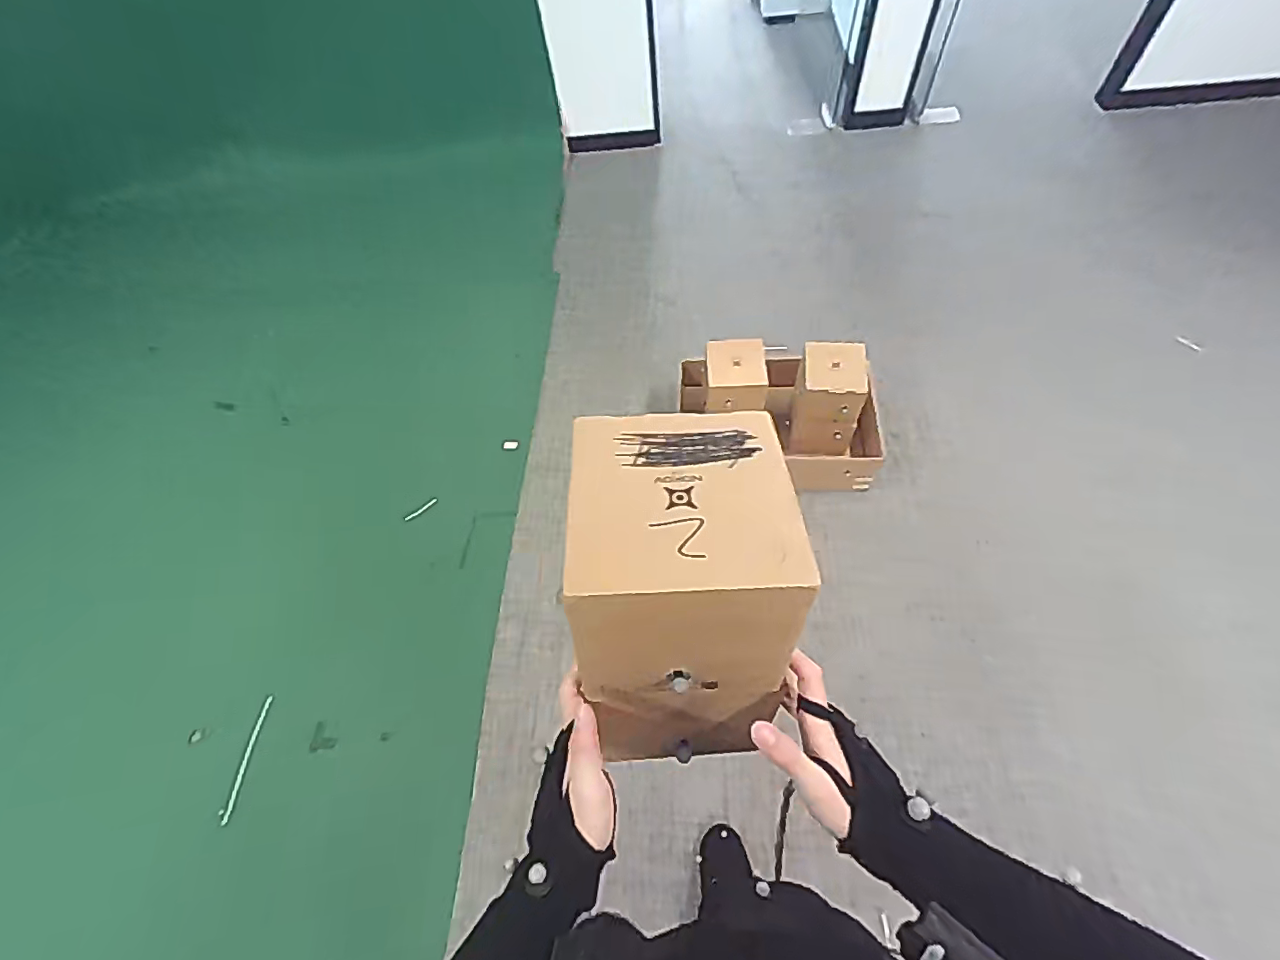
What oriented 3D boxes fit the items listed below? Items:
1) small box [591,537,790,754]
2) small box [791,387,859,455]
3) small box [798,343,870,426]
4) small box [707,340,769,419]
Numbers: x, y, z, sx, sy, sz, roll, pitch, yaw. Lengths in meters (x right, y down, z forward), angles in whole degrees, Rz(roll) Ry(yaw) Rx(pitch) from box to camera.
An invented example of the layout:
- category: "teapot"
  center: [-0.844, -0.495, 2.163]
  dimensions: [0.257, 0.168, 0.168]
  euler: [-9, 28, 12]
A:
- category: "small box"
  center: [0.041, 0.178, 0.577]
  dimensions: [0.179, 0.176, 0.168]
  euler: [-2, 45, -2]
- category: "small box"
  center: [0.578, -0.191, 1.704]
  dimensions: [0.179, 0.176, 0.168]
  euler: [3, 61, 9]
- category: "small box"
  center: [0.557, -0.274, 1.566]
  dimensions: [0.168, 0.176, 0.179]
  euler: [4, 61, 8]
- category: "small box"
  center: [0.287, -0.292, 1.611]
  dimensions: [0.168, 0.176, 0.179]
  euler: [-2, 60, 5]
